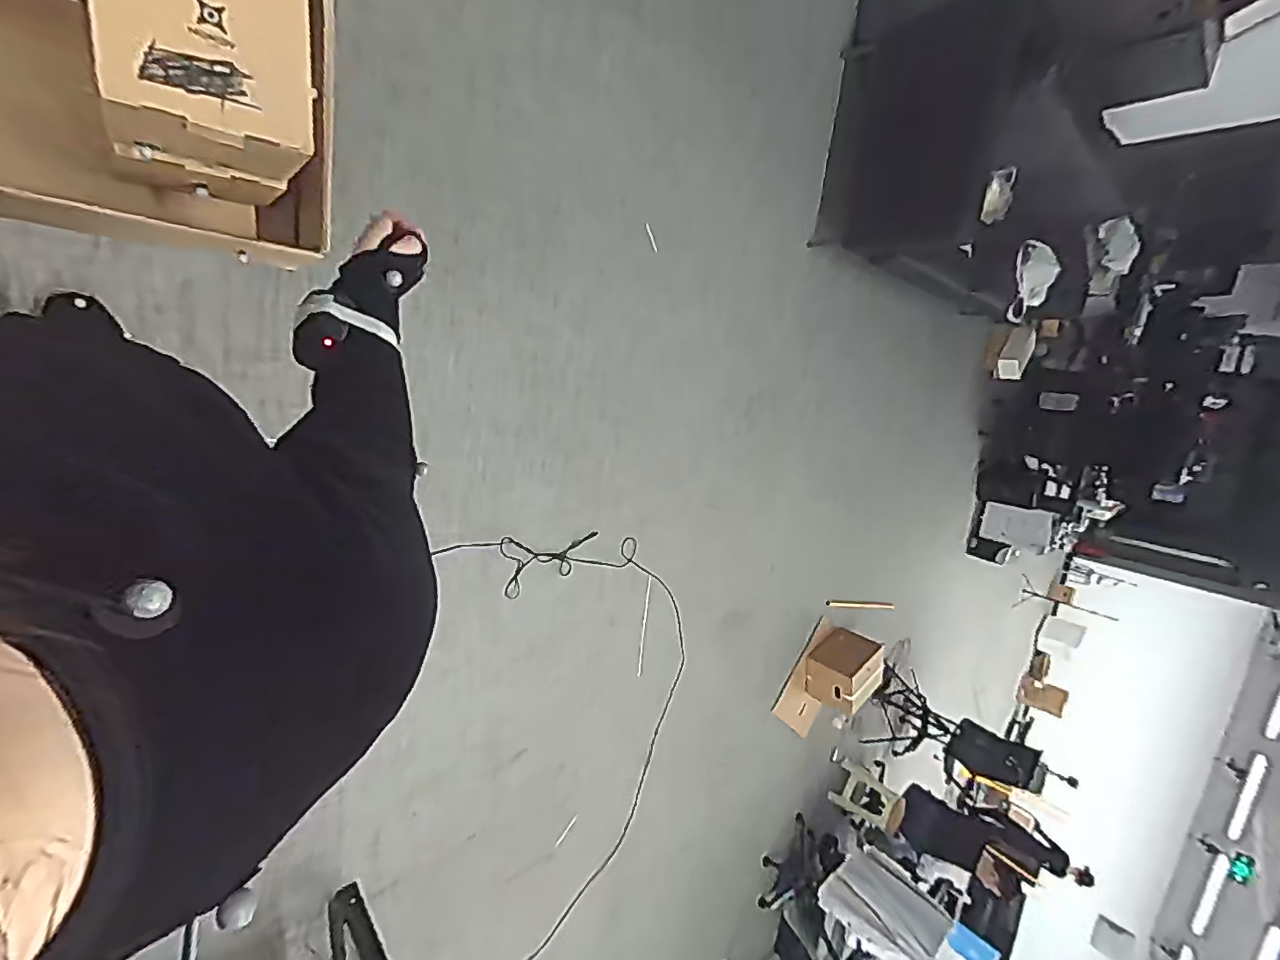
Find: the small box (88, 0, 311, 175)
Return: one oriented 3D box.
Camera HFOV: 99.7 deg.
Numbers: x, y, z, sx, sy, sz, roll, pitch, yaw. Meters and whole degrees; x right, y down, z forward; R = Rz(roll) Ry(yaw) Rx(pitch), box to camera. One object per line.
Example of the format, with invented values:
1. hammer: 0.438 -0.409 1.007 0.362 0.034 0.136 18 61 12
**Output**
1. small box: -0.456 -0.442 0.564 0.168 0.176 0.179 -7 107 -42
